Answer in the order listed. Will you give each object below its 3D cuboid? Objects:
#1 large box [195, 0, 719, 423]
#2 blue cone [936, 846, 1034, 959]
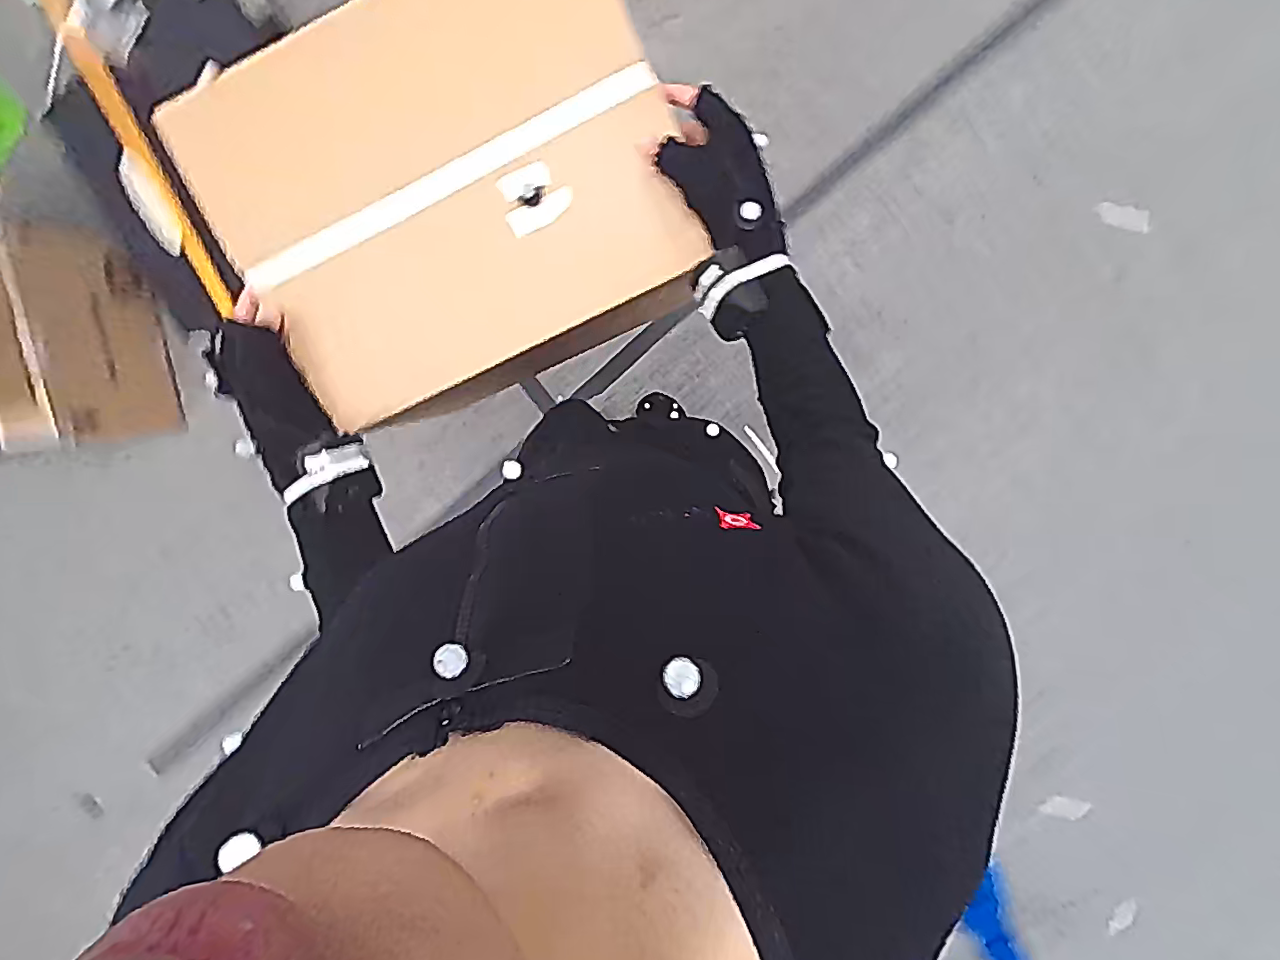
[{"bbox_3d":[-0.165,-0.294,0.640,0.408,0.320,0.320,-24,99,5],"label":"large box"},{"bbox_3d":[0.975,1.205,1.433,0.193,0.380,0.192,-18,97,7],"label":"blue cone"}]
